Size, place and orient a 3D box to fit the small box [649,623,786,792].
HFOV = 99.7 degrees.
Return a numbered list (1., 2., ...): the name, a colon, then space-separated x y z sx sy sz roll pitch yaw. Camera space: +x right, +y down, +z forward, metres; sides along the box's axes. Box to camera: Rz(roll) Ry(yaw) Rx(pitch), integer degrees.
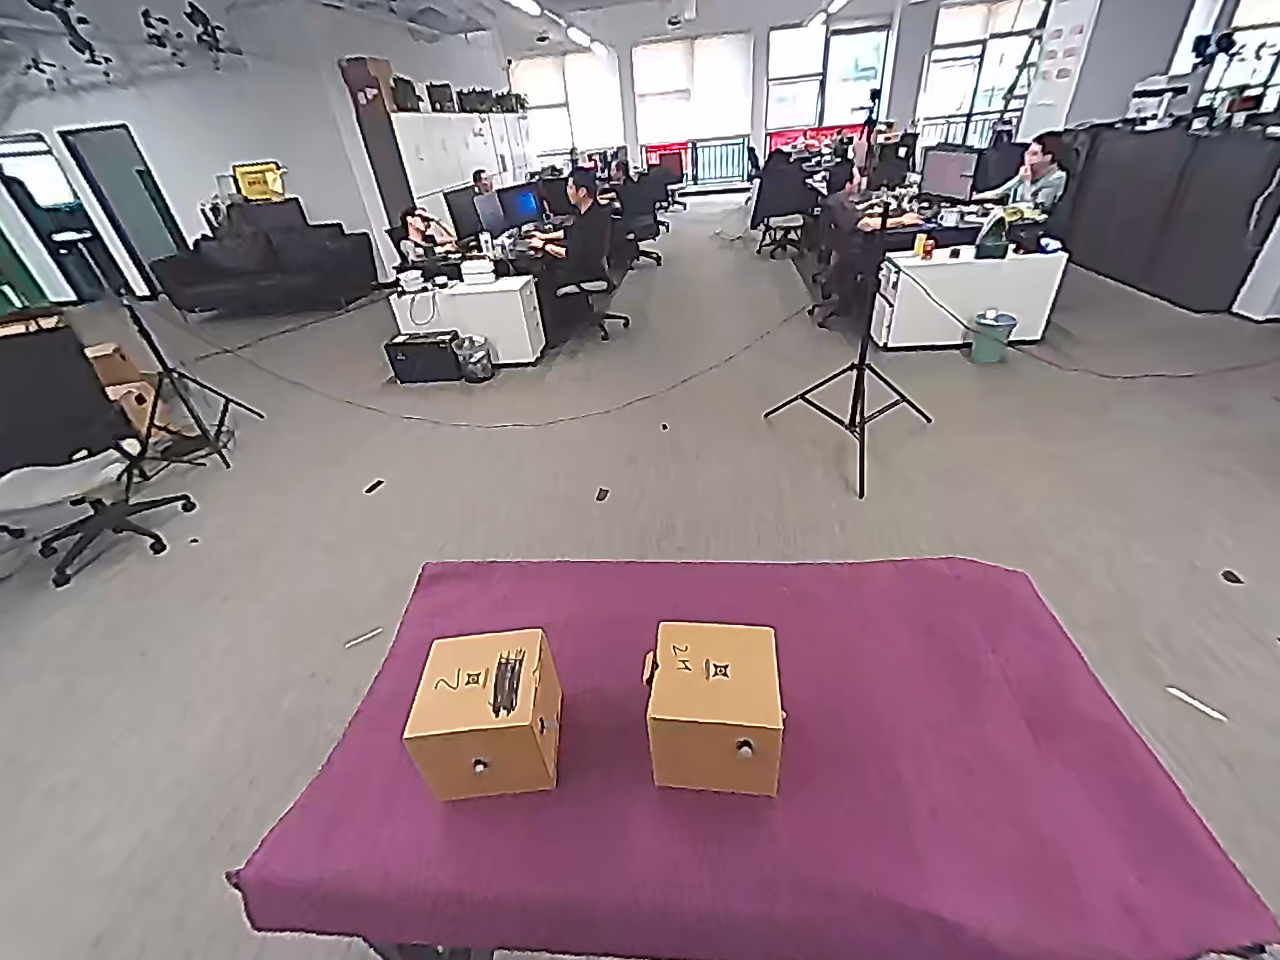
1. small box: 0.114 0.334 0.800 0.179 0.176 0.168 -1 33 9
